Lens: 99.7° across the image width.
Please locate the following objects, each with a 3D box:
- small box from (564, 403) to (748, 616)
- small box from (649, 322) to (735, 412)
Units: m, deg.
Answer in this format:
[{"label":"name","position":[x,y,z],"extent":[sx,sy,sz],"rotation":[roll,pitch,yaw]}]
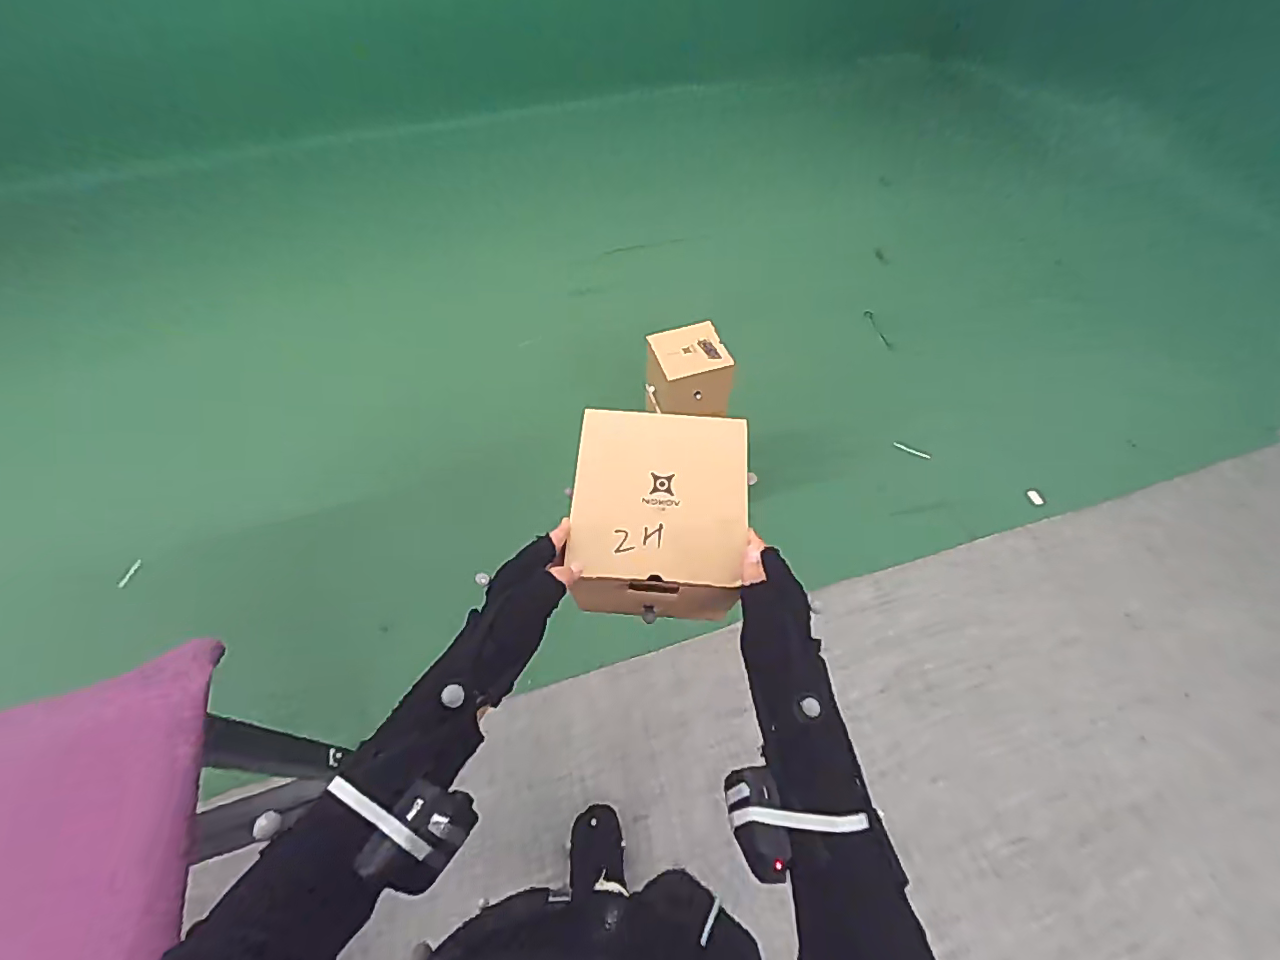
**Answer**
[{"label":"small box","position":[0.020,0.039,0.585],"extent":[0.168,0.176,0.179],"rotation":[4,66,3]},{"label":"small box","position":[0.126,-0.278,1.399],"extent":[0.179,0.176,0.168],"rotation":[-13,56,-9]}]
